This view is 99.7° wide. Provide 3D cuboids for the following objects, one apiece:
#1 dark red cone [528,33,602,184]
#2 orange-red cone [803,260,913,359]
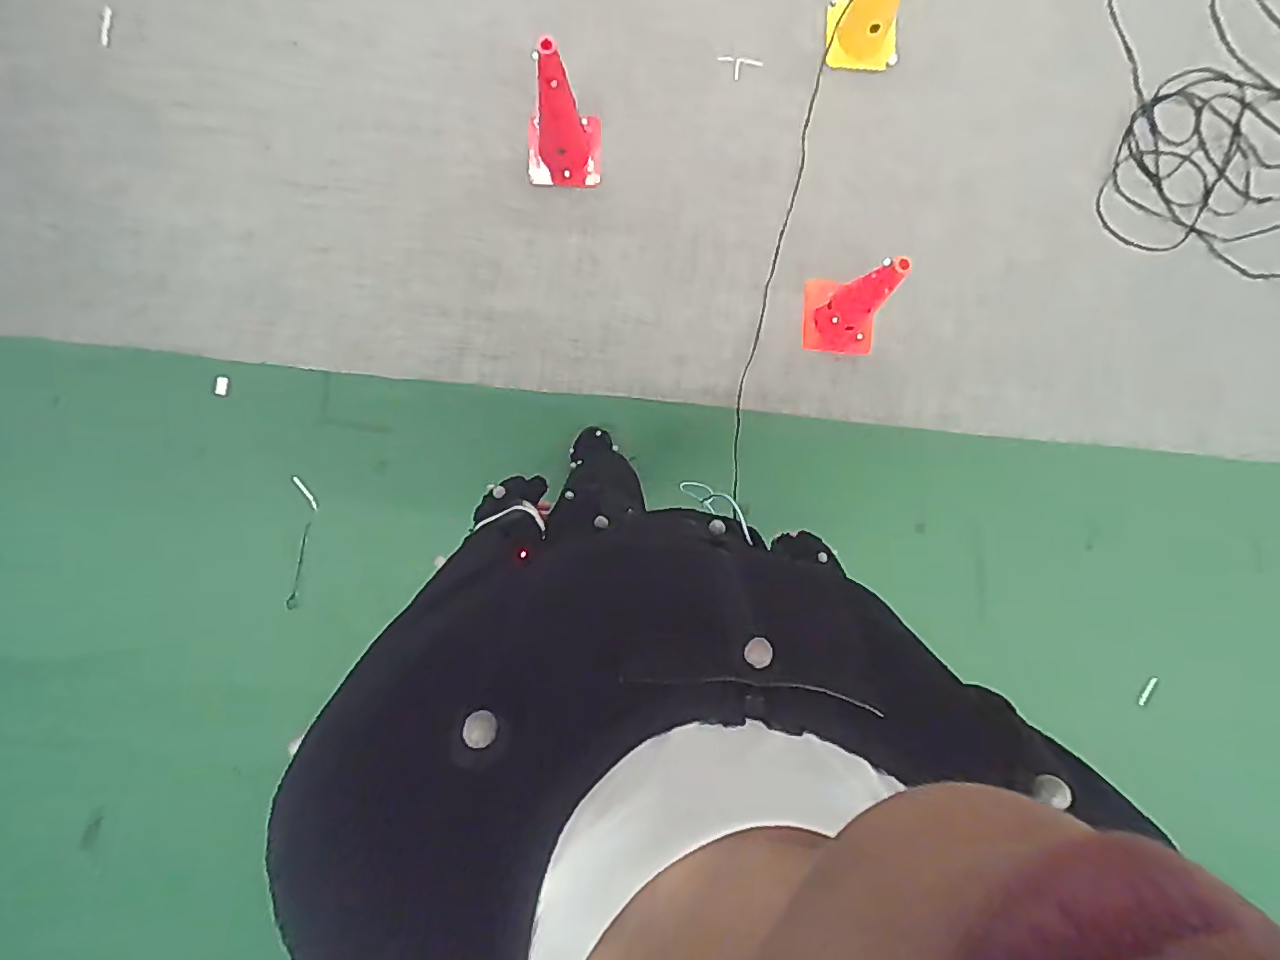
[{"bbox_3d":[-0.199,-0.913,1.318,0.202,0.394,0.201,0,89,-2],"label":"dark red cone"},{"bbox_3d":[0.566,-0.454,1.346,0.198,0.360,0.199,6,87,-2],"label":"orange-red cone"}]
